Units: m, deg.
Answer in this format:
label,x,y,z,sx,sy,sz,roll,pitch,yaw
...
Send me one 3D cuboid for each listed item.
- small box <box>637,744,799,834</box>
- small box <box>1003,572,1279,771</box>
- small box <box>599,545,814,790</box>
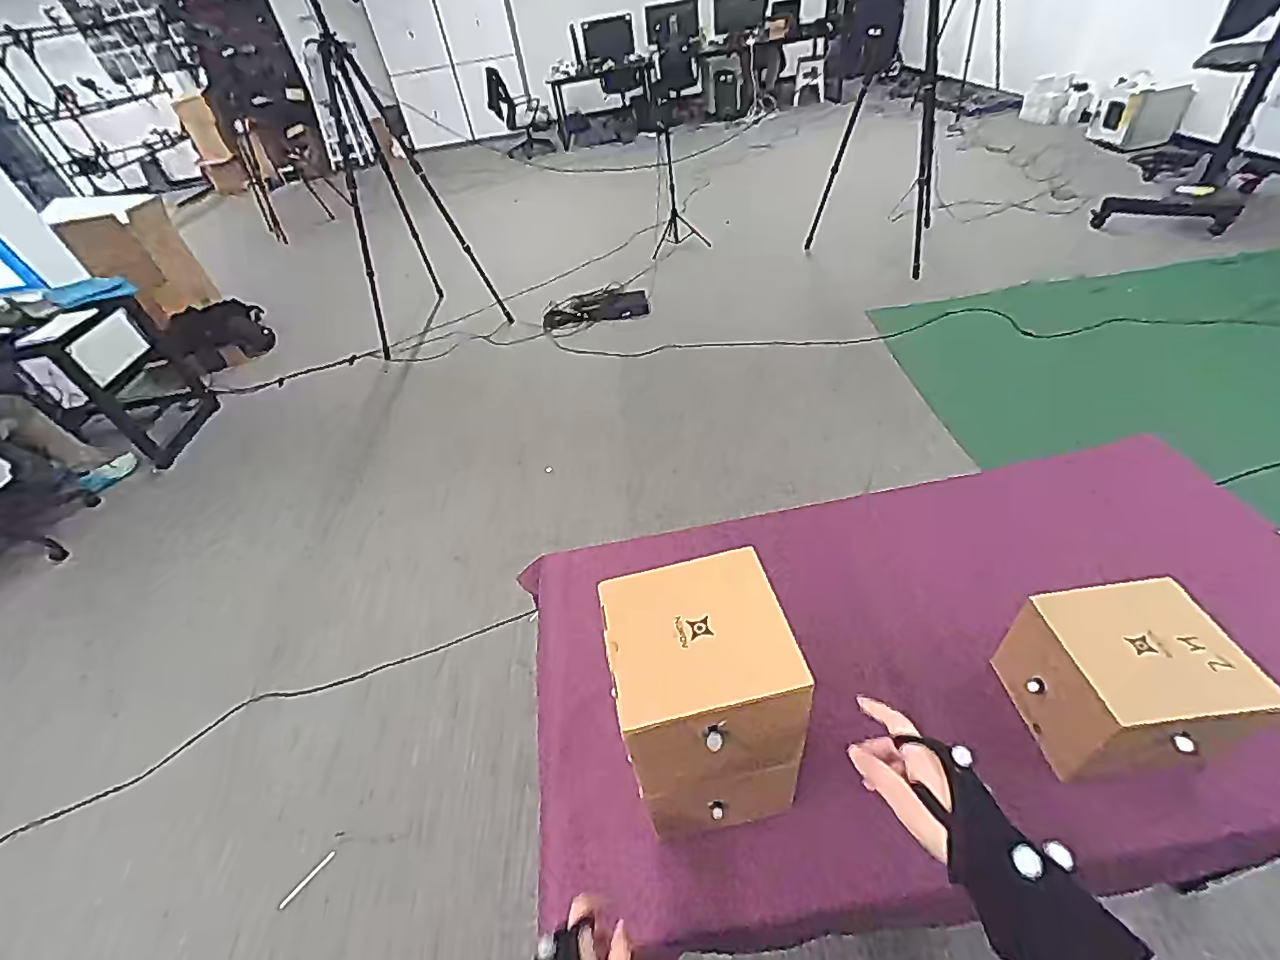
label,x,y,z,sx,sy,sz,roll,pitch,yaw
small box,0.085,0.319,0.685,0.179,0.176,0.168,-14,42,-1
small box,0.584,0.238,0.663,0.179,0.176,0.168,-8,43,3
small box,0.065,0.200,0.576,0.179,0.176,0.168,-14,42,-2
